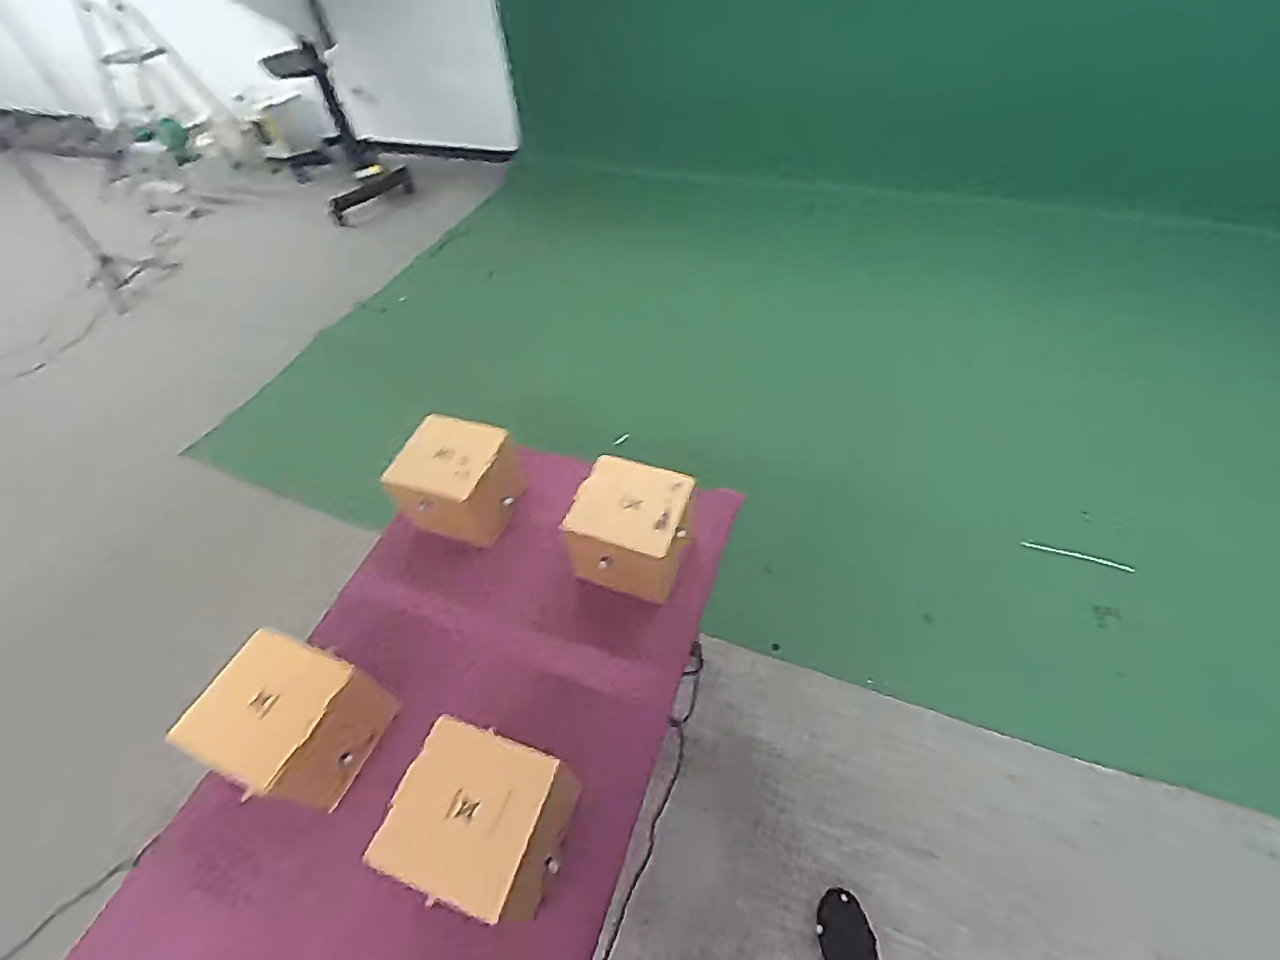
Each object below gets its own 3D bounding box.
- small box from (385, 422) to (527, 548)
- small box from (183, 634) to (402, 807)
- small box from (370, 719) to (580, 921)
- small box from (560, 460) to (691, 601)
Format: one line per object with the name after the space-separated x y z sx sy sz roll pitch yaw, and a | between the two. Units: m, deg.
-0.348 0.013 1.057 0.179 0.176 0.168 13 57 15 | small box
-0.499 0.362 0.805 0.179 0.176 0.168 16 55 15 | small box
-0.199 0.443 0.707 0.179 0.176 0.168 13 55 17 | small box
-0.016 0.093 0.959 0.179 0.176 0.168 14 56 16 | small box
